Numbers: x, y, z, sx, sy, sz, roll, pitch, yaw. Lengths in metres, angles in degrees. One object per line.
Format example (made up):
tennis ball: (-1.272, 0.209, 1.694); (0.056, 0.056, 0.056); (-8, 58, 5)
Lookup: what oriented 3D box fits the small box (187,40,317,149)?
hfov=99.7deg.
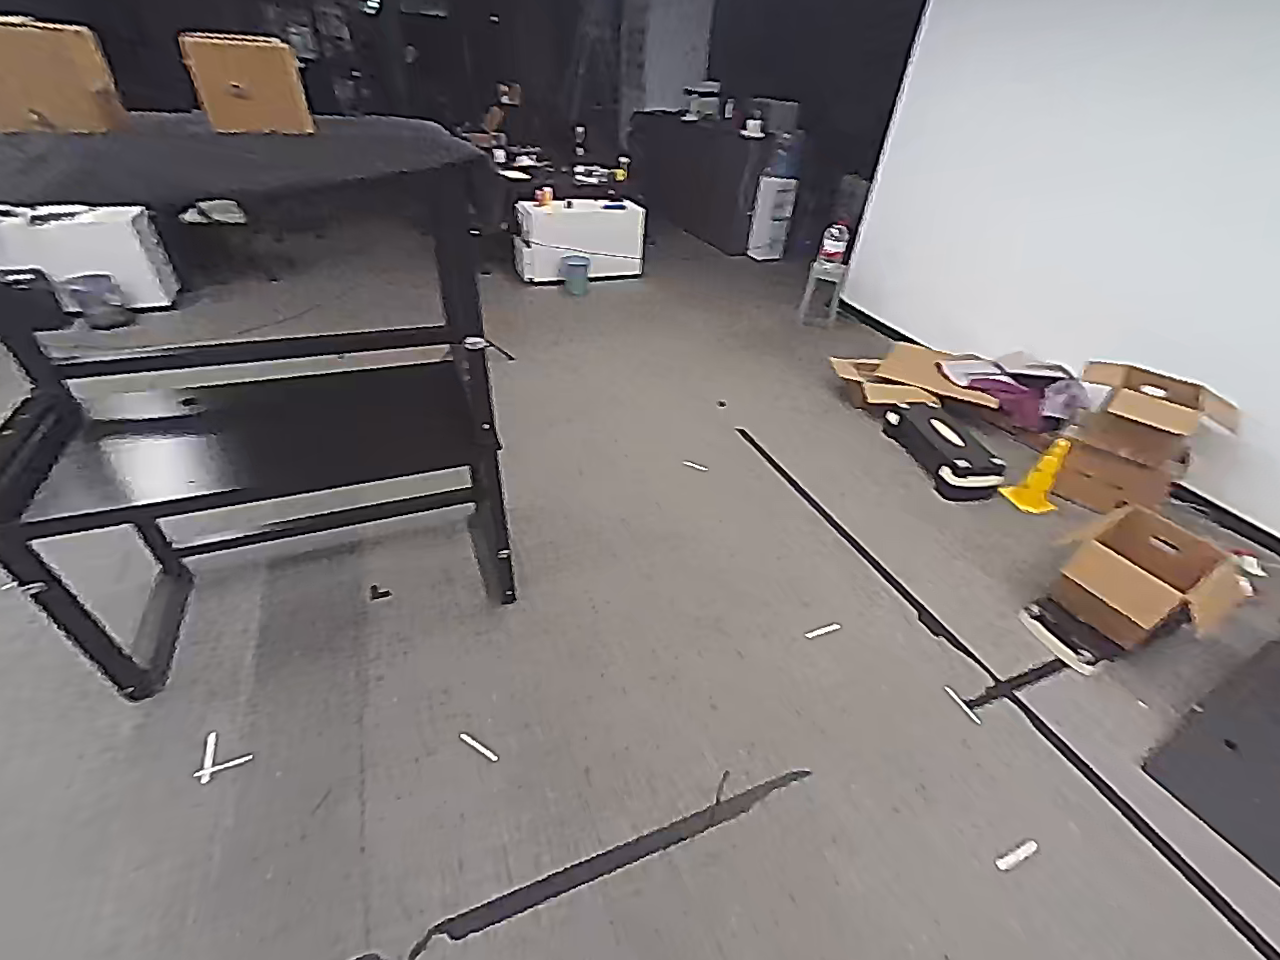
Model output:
small box: (-0.770, -0.776, 1.094); (0.168, 0.176, 0.179); (-13, 40, -21)

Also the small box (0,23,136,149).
small box: (-1.054, -0.697, 0.960); (0.179, 0.176, 0.168); (-12, 39, -21)
